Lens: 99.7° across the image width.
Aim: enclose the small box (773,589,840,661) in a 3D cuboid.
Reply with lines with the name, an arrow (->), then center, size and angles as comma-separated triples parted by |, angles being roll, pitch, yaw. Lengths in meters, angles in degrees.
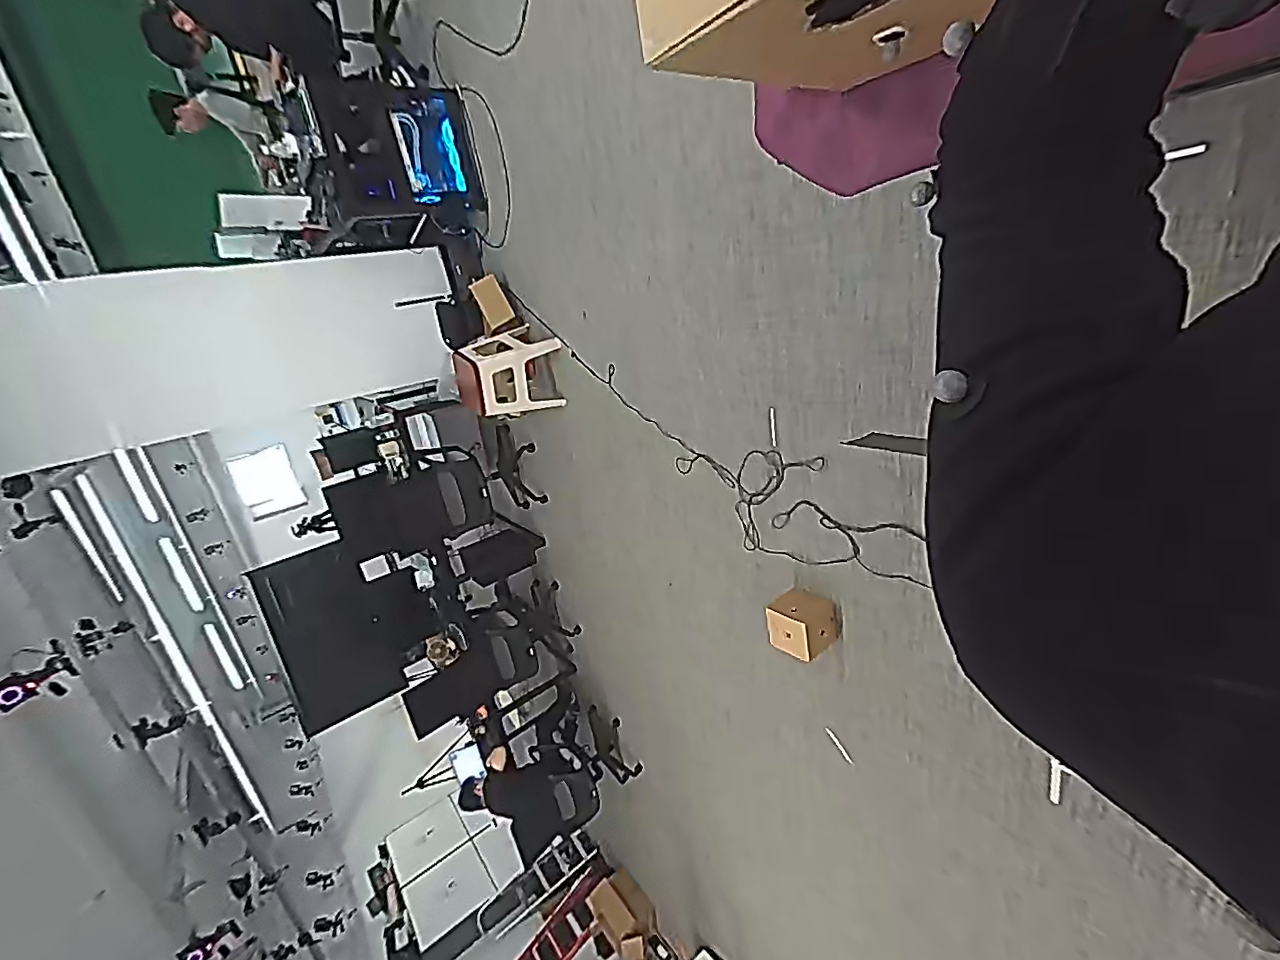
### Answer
small box -> 0.612, 0.518, 1.965 | 0.179, 0.176, 0.168 | 15, 122, 53
